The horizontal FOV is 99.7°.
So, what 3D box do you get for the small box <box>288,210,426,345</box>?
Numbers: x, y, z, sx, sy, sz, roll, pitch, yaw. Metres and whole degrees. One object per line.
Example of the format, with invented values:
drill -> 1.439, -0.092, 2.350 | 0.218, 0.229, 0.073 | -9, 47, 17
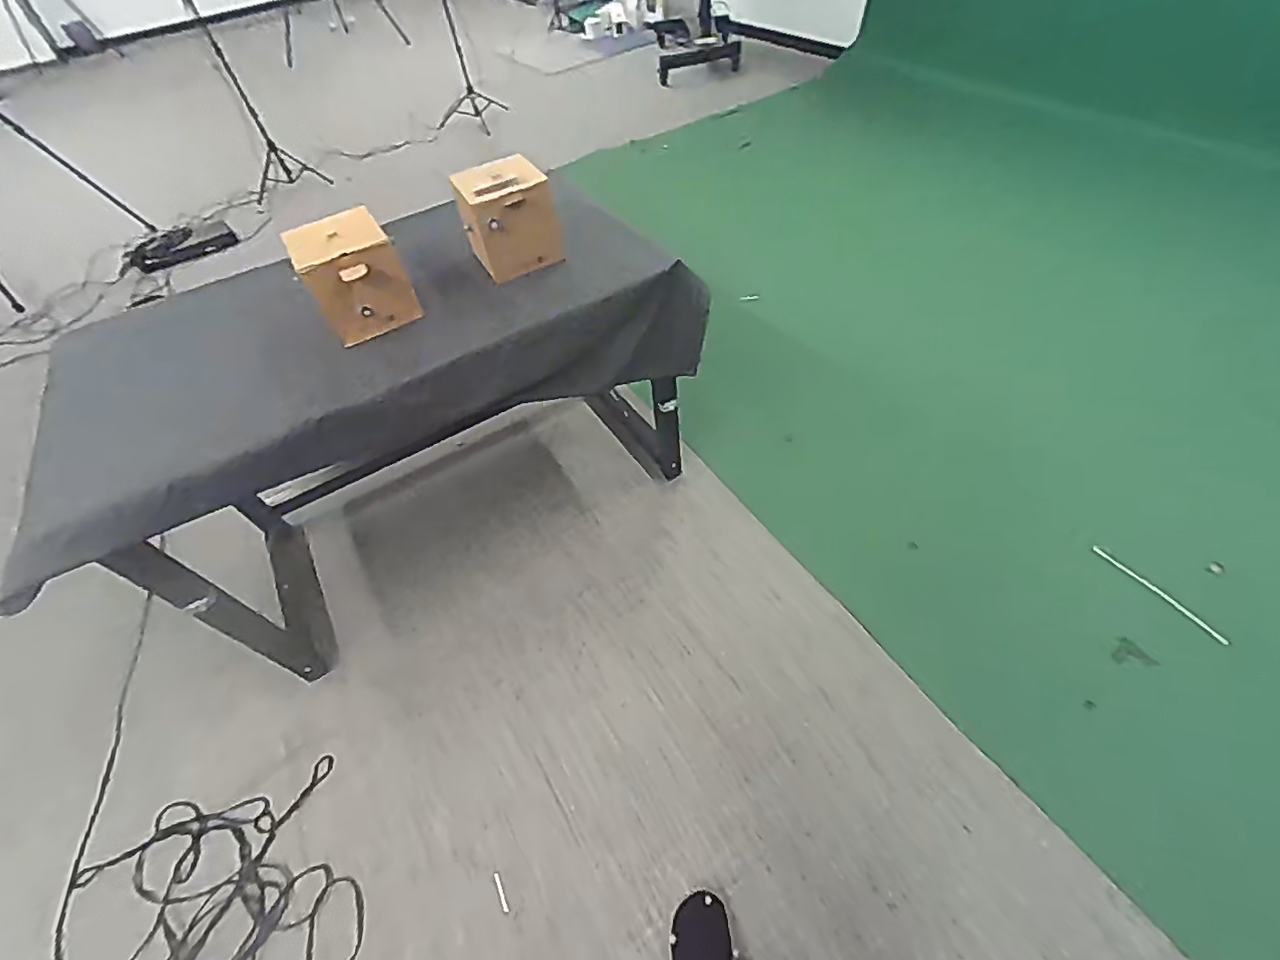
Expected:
small box -> -0.552, -0.397, 1.066 | 0.168, 0.176, 0.179 | -29, 54, -16
